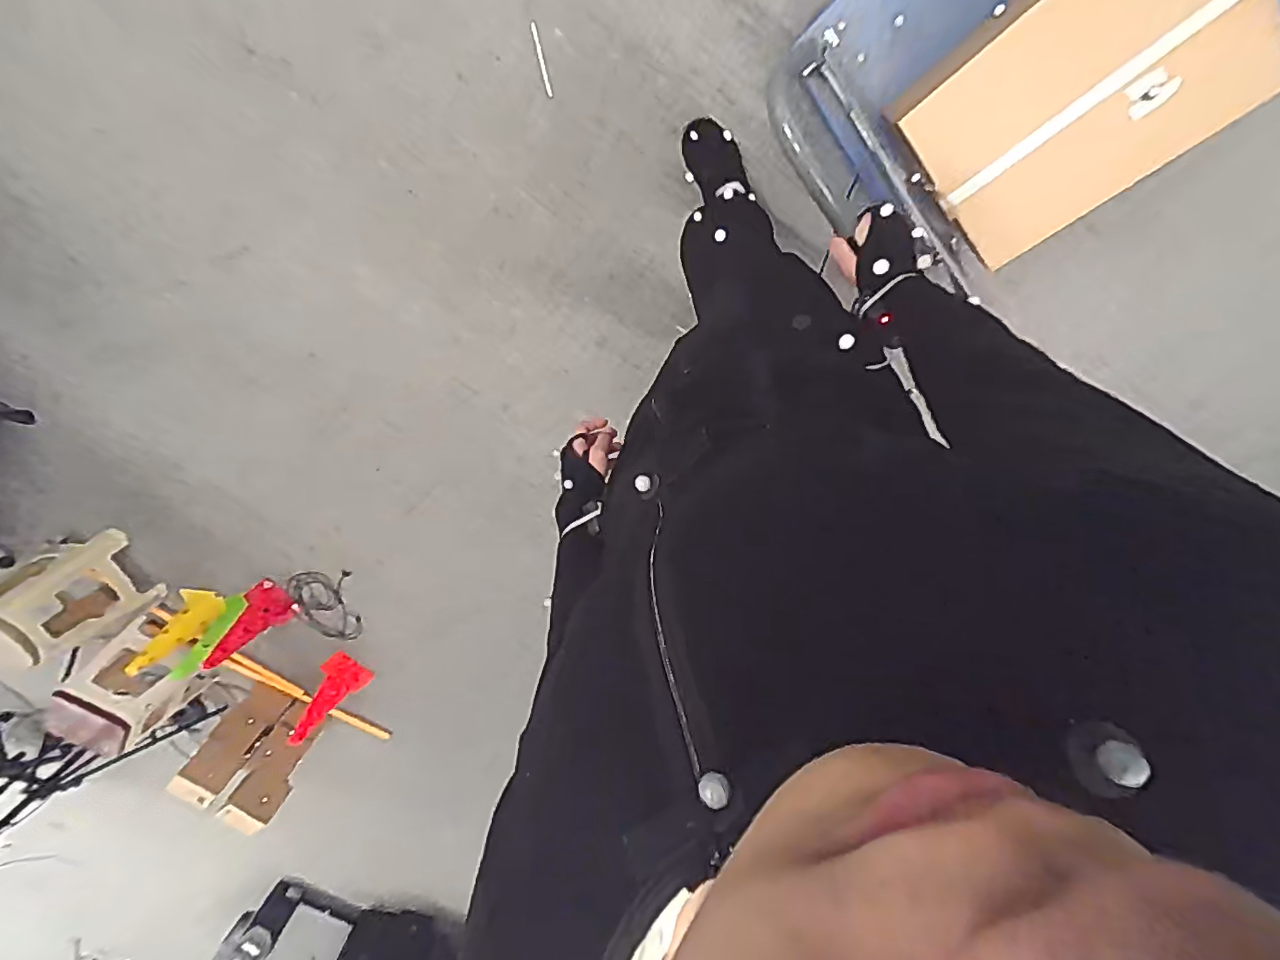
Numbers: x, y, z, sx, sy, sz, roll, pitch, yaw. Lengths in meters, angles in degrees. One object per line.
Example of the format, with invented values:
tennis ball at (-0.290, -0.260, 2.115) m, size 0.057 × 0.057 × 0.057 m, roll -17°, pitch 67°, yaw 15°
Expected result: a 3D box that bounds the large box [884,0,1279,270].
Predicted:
large box at (0.702, -0.652, 0.937) m, size 0.408 × 0.320 × 0.320 m, roll -33°, pitch 110°, yaw 34°
